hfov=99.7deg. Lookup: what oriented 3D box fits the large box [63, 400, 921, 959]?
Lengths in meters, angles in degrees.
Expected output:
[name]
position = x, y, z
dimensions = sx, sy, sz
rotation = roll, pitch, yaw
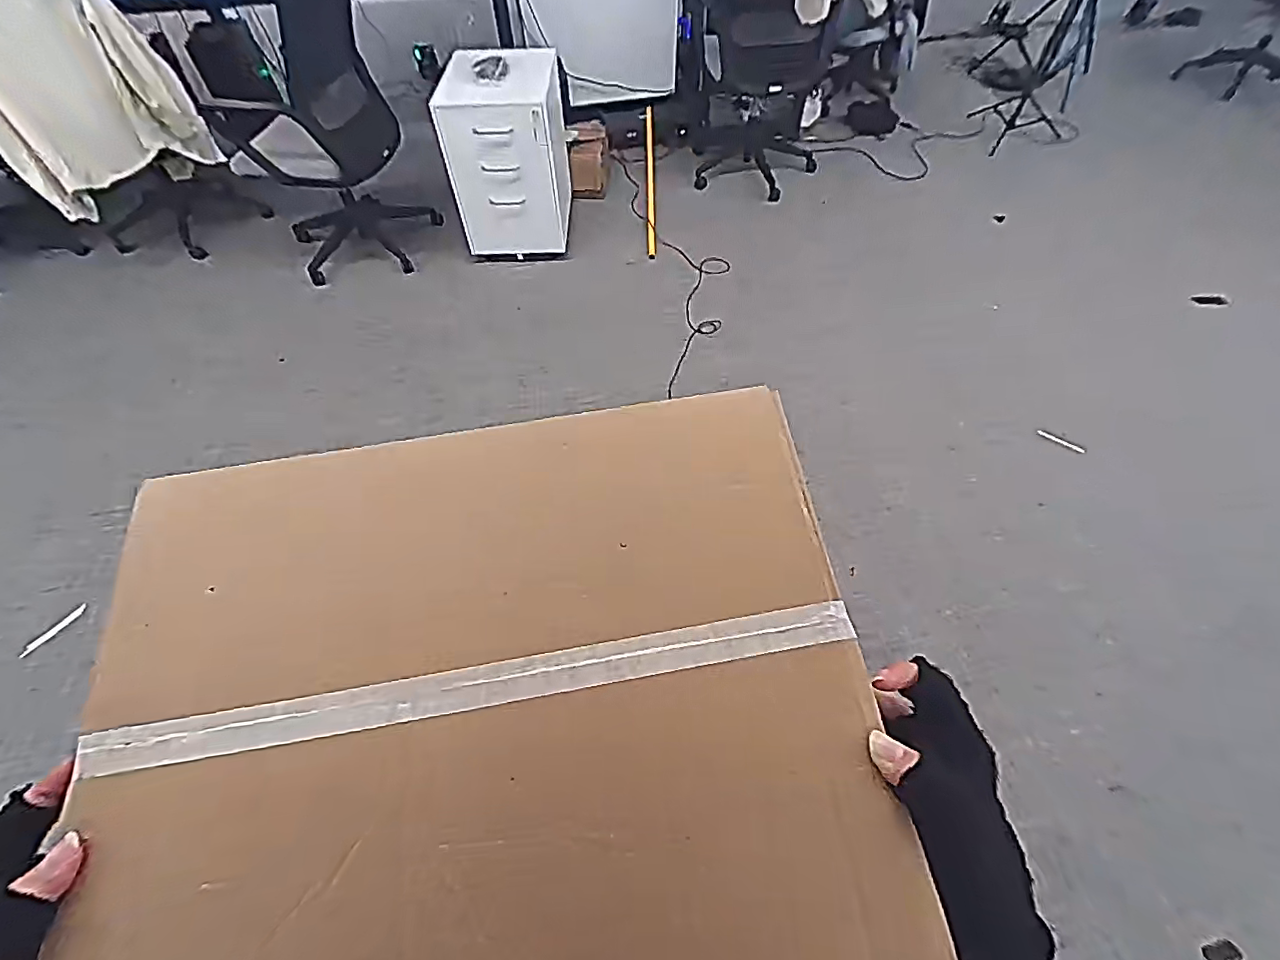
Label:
[large box]
position = -0.084, 0.174, 0.434
dimensions = 0.408, 0.320, 0.320
rotation = -9, 65, -3
